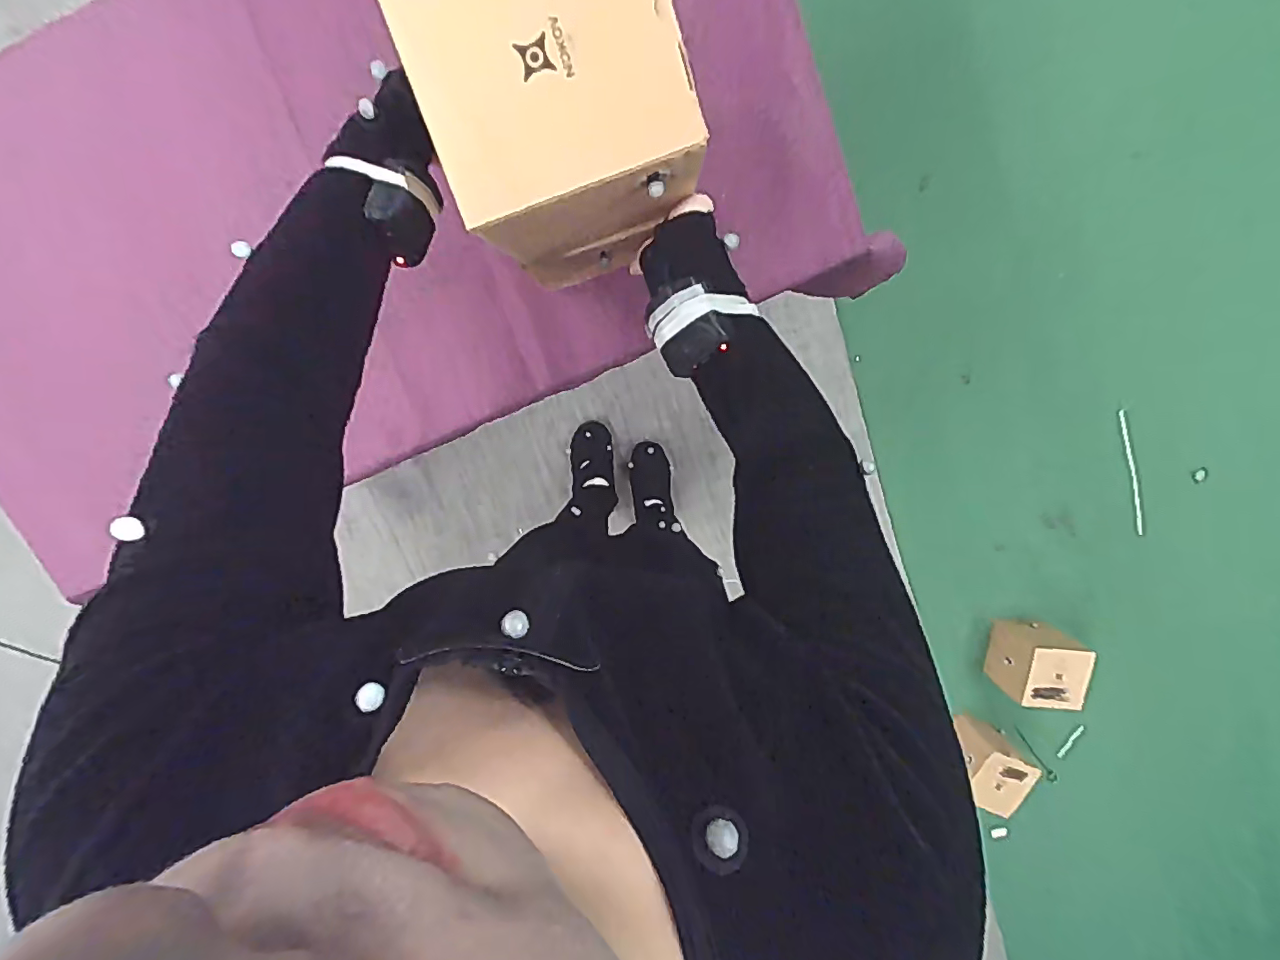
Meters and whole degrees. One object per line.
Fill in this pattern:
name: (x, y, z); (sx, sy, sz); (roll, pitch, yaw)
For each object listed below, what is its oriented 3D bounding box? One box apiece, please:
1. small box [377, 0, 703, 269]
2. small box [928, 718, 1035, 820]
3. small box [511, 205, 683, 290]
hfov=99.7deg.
small box: (-0.062, -0.286, 0.429); (0.179, 0.176, 0.168); (-19, 101, 4)
small box: (0.987, 0.838, 1.583); (0.168, 0.176, 0.179); (25, 102, -6)
small box: (-0.060, -0.318, 0.590); (0.179, 0.176, 0.168); (-16, 102, 3)
